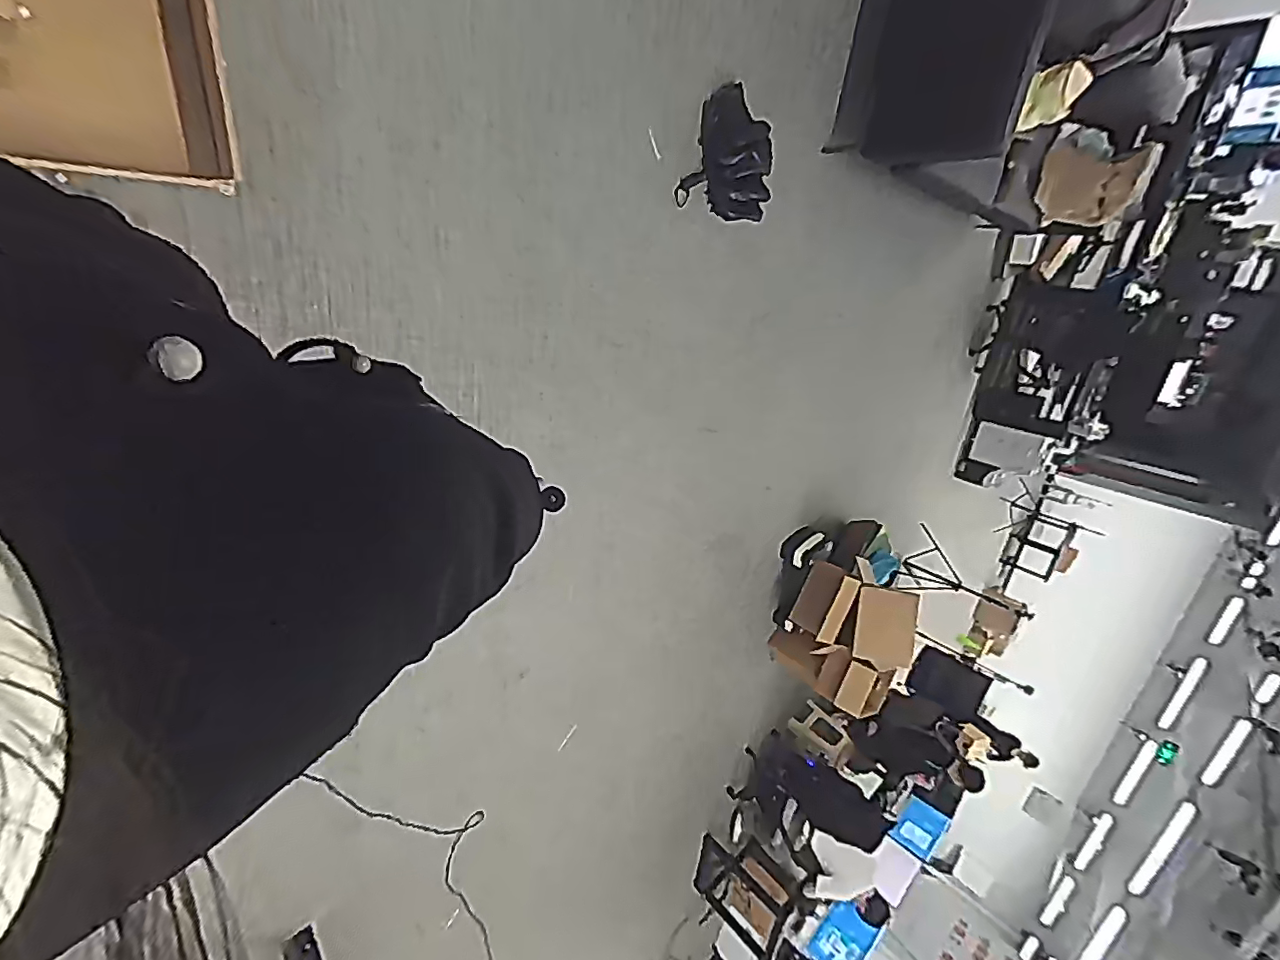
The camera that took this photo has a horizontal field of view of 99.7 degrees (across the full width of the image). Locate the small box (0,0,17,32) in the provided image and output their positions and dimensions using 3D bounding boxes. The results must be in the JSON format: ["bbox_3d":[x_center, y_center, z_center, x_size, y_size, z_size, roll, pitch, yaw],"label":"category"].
[{"bbox_3d":[-0.728,-0.545,0.497,0.179,0.176,0.168,-16,121,-41],"label":"small box"}]
